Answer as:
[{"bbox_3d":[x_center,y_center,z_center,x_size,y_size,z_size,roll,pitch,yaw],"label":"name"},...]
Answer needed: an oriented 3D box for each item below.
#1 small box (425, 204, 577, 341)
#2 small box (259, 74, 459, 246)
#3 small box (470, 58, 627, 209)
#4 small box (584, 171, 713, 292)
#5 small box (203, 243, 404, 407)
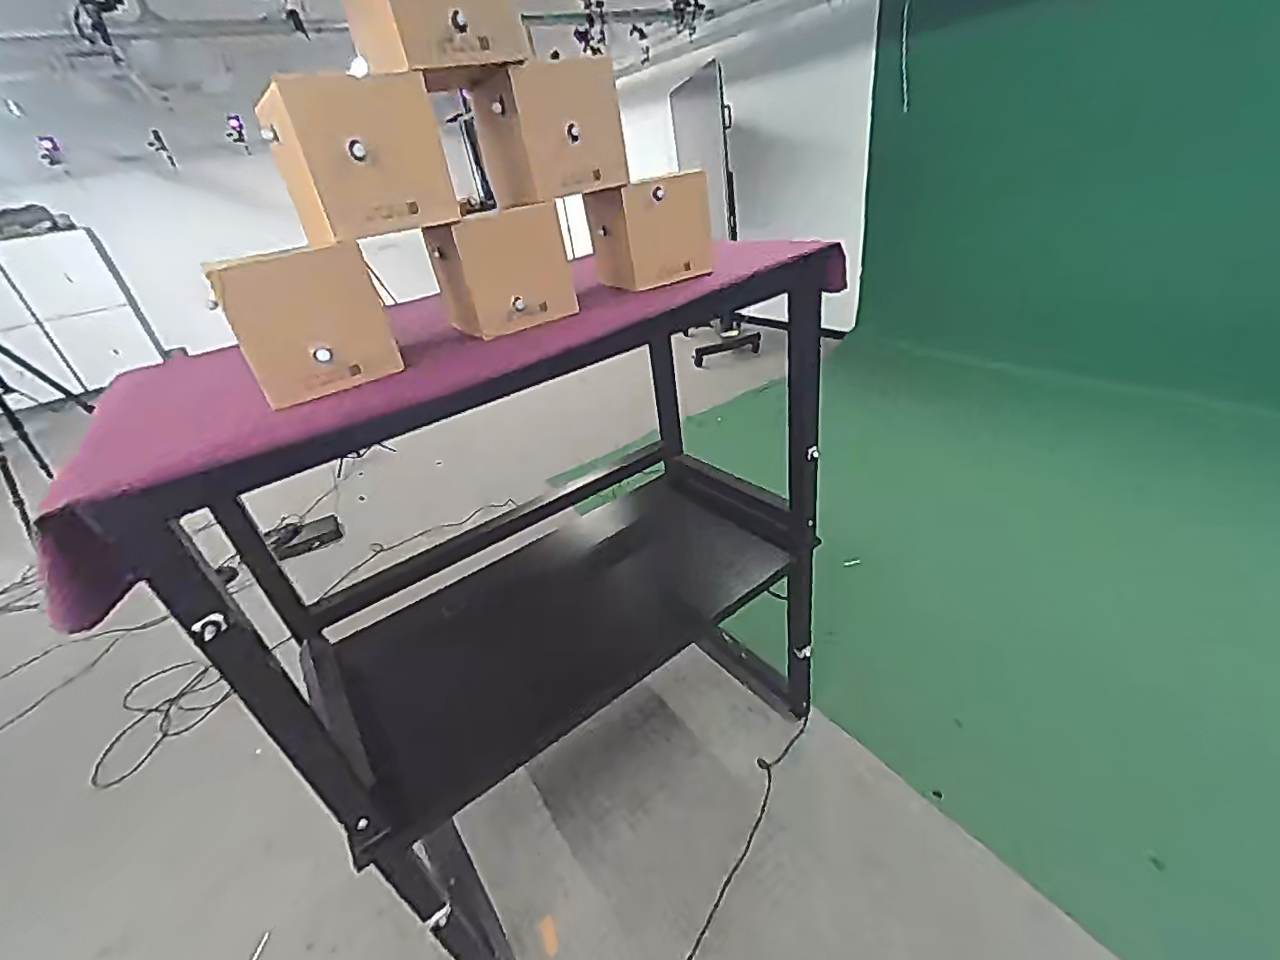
[{"bbox_3d":[-0.222,-0.333,0.865,0.168,0.176,0.179,-26,34,-24],"label":"small box"},{"bbox_3d":[-0.362,-0.407,0.709,0.168,0.176,0.179,-28,34,-29],"label":"small box"},{"bbox_3d":[-0.139,-0.531,0.847,0.168,0.176,0.179,-26,33,-24],"label":"small box"},{"bbox_3d":[0.016,-0.451,0.991,0.168,0.176,0.179,-23,32,-19],"label":"small box"},{"bbox_3d":[-0.443,-0.210,0.720,0.168,0.176,0.179,-27,35,-27],"label":"small box"}]
